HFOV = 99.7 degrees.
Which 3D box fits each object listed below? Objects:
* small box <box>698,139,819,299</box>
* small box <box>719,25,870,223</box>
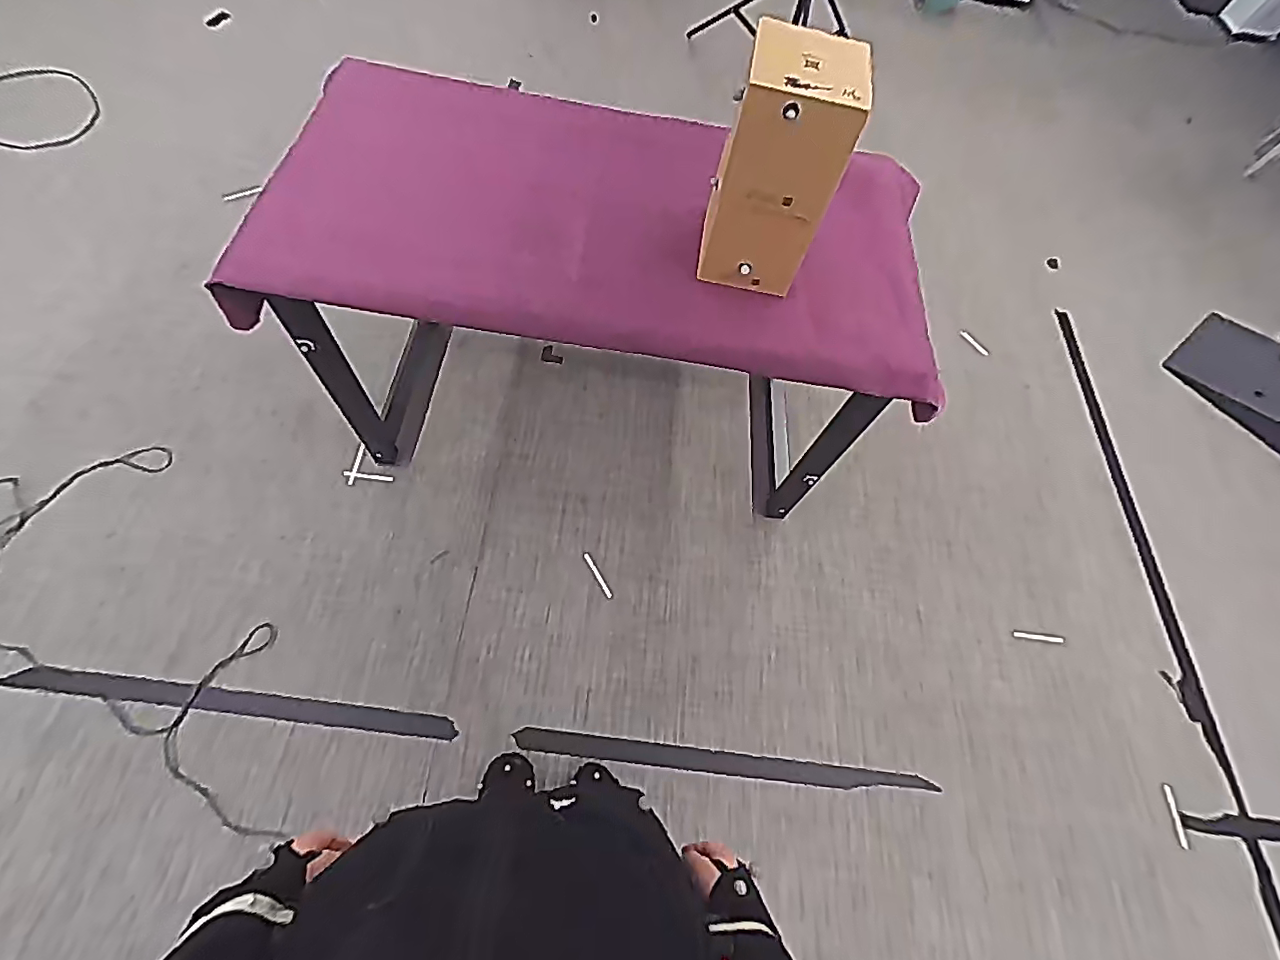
[{"bbox_3d":[0.204,-0.456,0.954,0.168,0.176,0.179,10,63,-2],"label":"small box"},{"bbox_3d":[0.223,-0.524,0.806,0.168,0.176,0.179,12,62,-1],"label":"small box"}]
